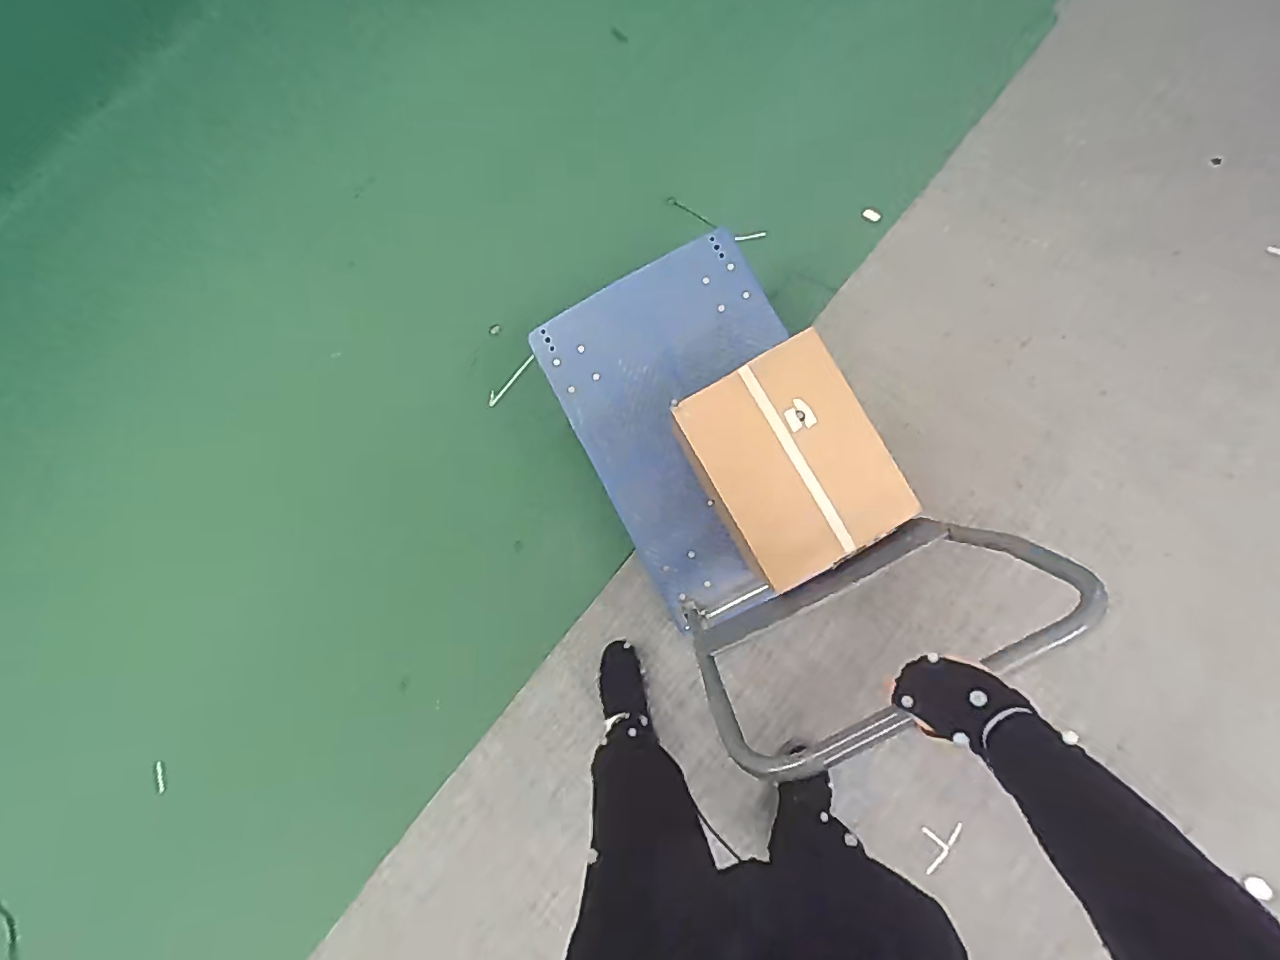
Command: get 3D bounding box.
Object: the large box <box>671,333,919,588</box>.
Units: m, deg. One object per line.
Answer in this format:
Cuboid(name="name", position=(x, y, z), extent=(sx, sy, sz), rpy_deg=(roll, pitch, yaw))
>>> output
Cuboid(name="large box", position=(0.302, -0.031, 1.172), extent=(0.320, 0.320, 0.408), rpy_deg=(-30, 85, 1))
